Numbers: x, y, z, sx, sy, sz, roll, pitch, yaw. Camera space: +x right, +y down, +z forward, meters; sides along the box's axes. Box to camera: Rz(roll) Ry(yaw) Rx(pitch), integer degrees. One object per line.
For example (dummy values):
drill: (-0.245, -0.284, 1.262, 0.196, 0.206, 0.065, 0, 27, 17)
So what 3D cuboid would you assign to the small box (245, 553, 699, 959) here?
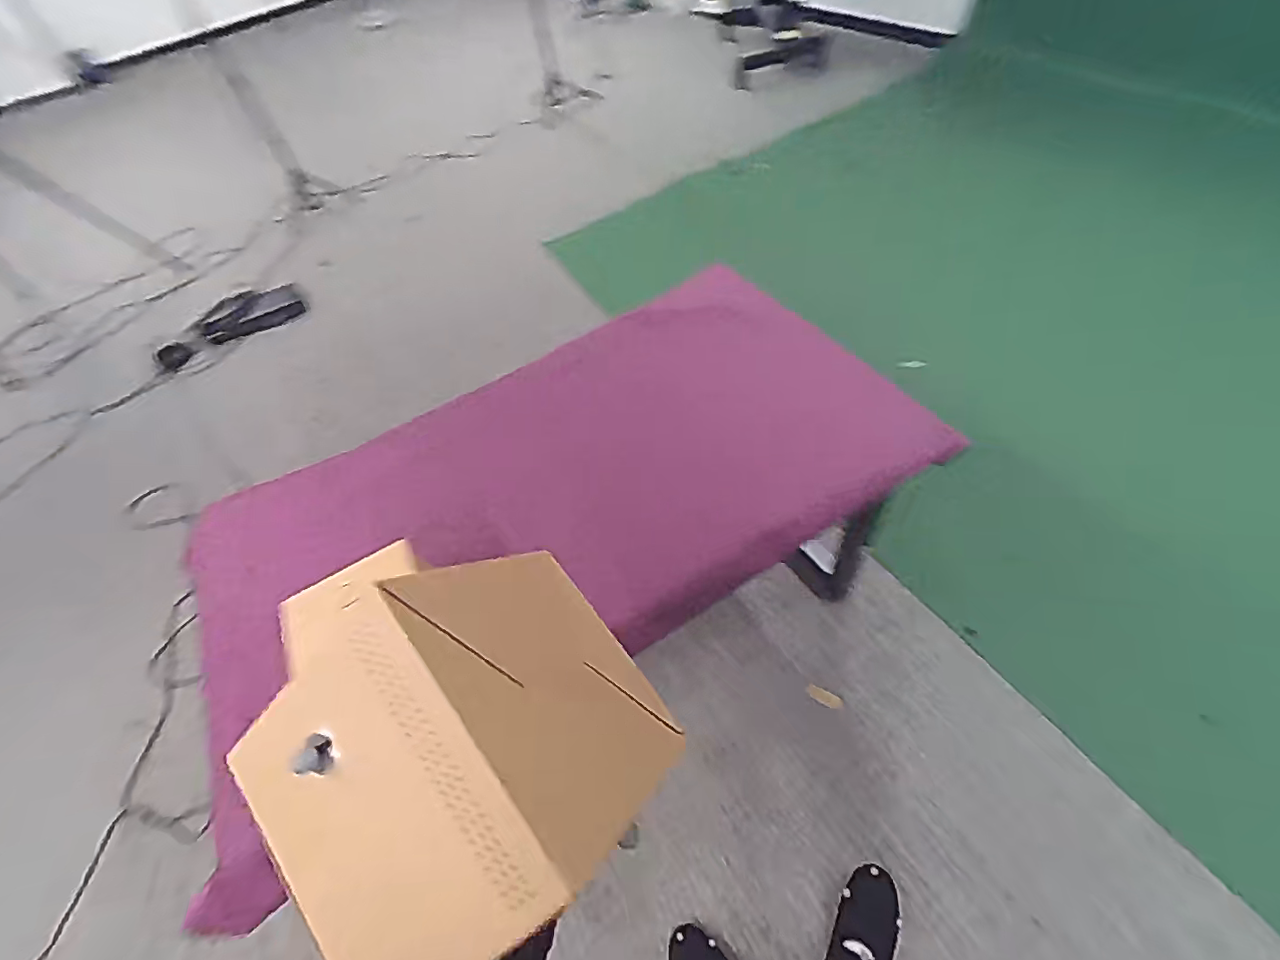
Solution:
small box: (-0.094, 0.167, 0.343, 0.176, 0.168, 0.179, -47, 72, 17)
